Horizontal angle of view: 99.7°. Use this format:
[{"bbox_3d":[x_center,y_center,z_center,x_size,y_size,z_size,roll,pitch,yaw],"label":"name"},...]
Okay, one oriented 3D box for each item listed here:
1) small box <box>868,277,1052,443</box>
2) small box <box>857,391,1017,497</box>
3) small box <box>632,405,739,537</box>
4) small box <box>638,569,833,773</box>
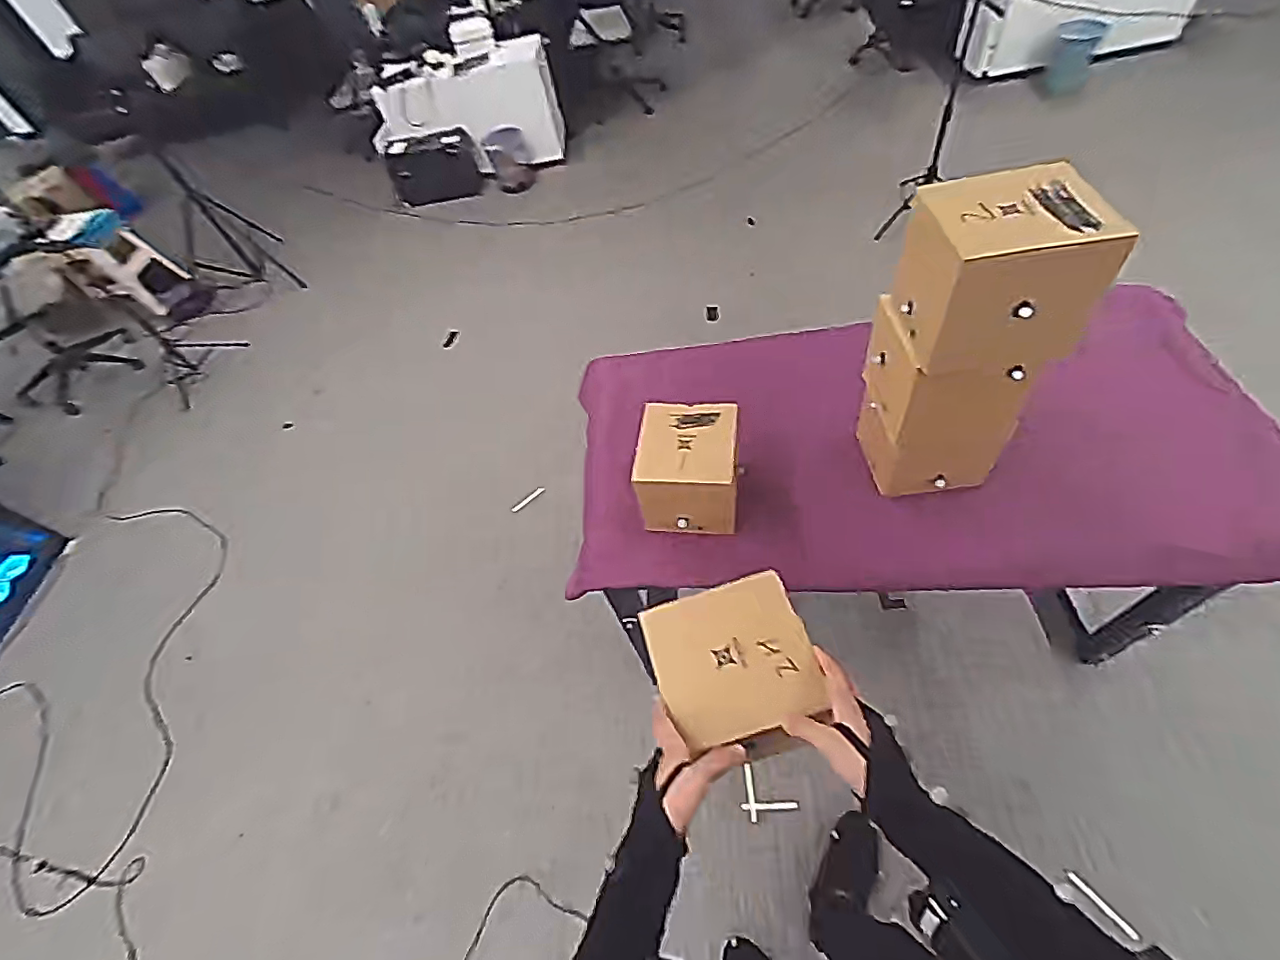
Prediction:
[{"bbox_3d":[0.456,-0.172,0.812,0.179,0.176,0.168,-8,53,6],"label":"small box"},{"bbox_3d":[0.502,-0.088,0.946,0.179,0.176,0.168,-8,52,5],"label":"small box"},{"bbox_3d":[0.091,-0.016,0.979,0.168,0.176,0.179,2,56,13],"label":"small box"},{"bbox_3d":[0.112,0.239,0.660,0.179,0.176,0.168,-17,53,-1],"label":"small box"}]
